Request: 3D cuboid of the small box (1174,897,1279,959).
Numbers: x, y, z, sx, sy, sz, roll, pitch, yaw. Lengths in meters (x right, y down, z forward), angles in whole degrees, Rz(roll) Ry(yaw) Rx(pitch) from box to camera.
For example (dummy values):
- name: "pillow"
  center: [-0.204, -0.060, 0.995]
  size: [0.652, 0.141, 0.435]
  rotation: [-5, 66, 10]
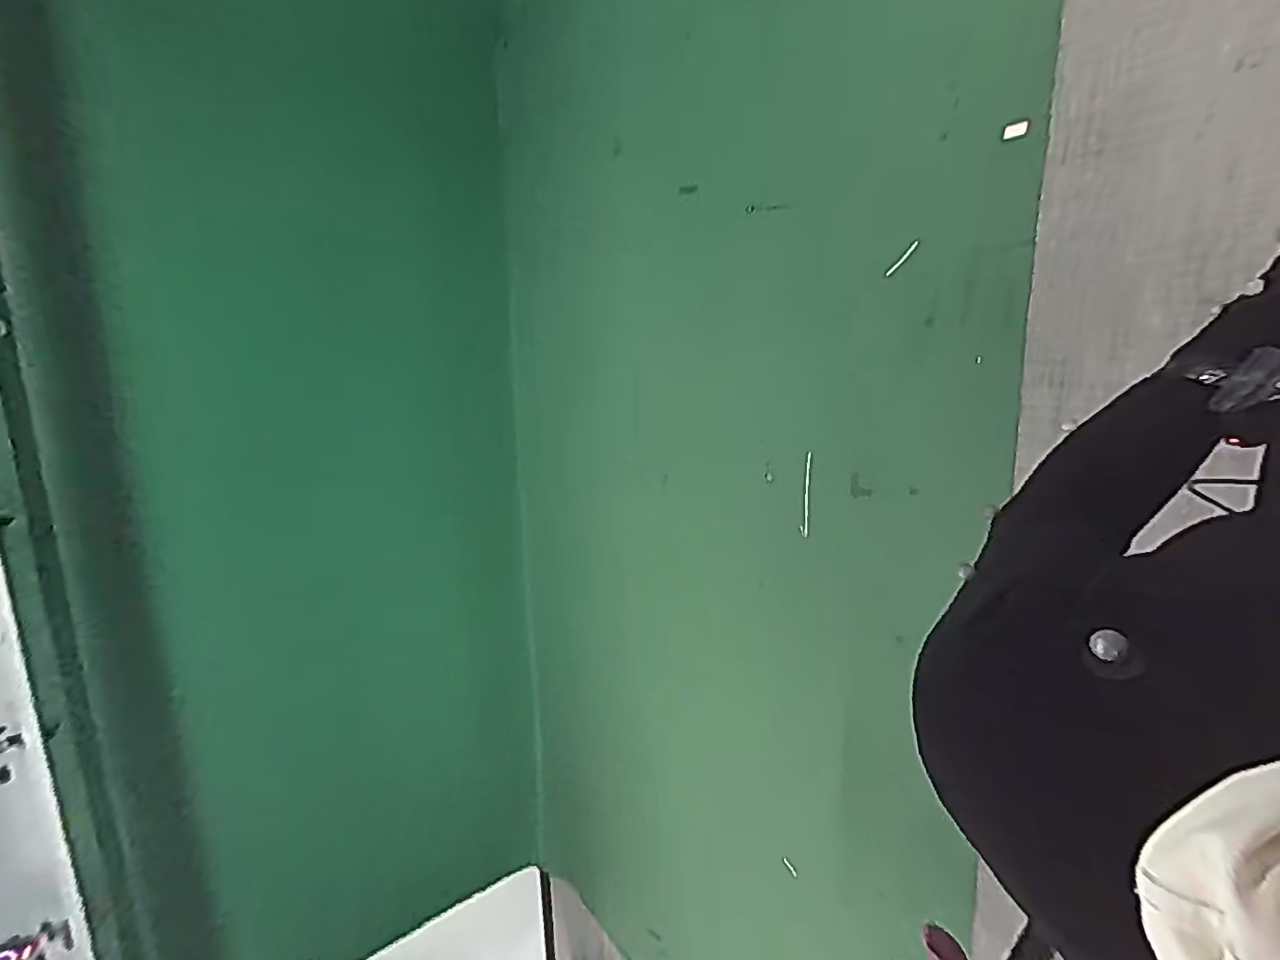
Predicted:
- name: "small box"
  center: [1.277, 1.058, 1.157]
  size: [0.179, 0.176, 0.168]
  rotation: [14, 107, 51]
